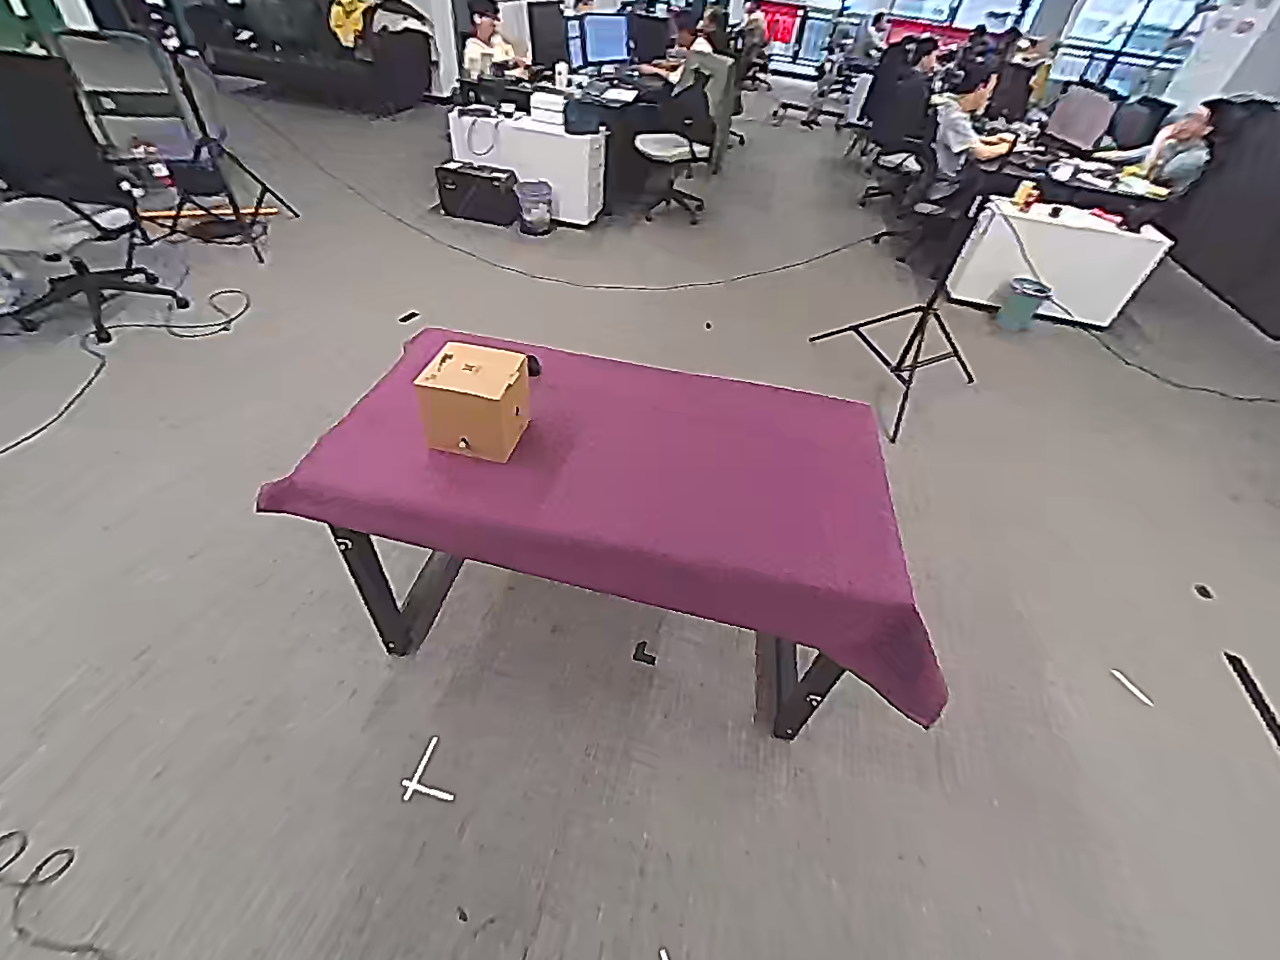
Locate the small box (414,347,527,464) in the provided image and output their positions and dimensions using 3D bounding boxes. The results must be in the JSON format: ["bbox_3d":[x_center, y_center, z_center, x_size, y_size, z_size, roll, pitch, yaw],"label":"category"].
[{"bbox_3d":[-0.348,-0.155,1.149,0.179,0.176,0.168,12,43,3],"label":"small box"}]
